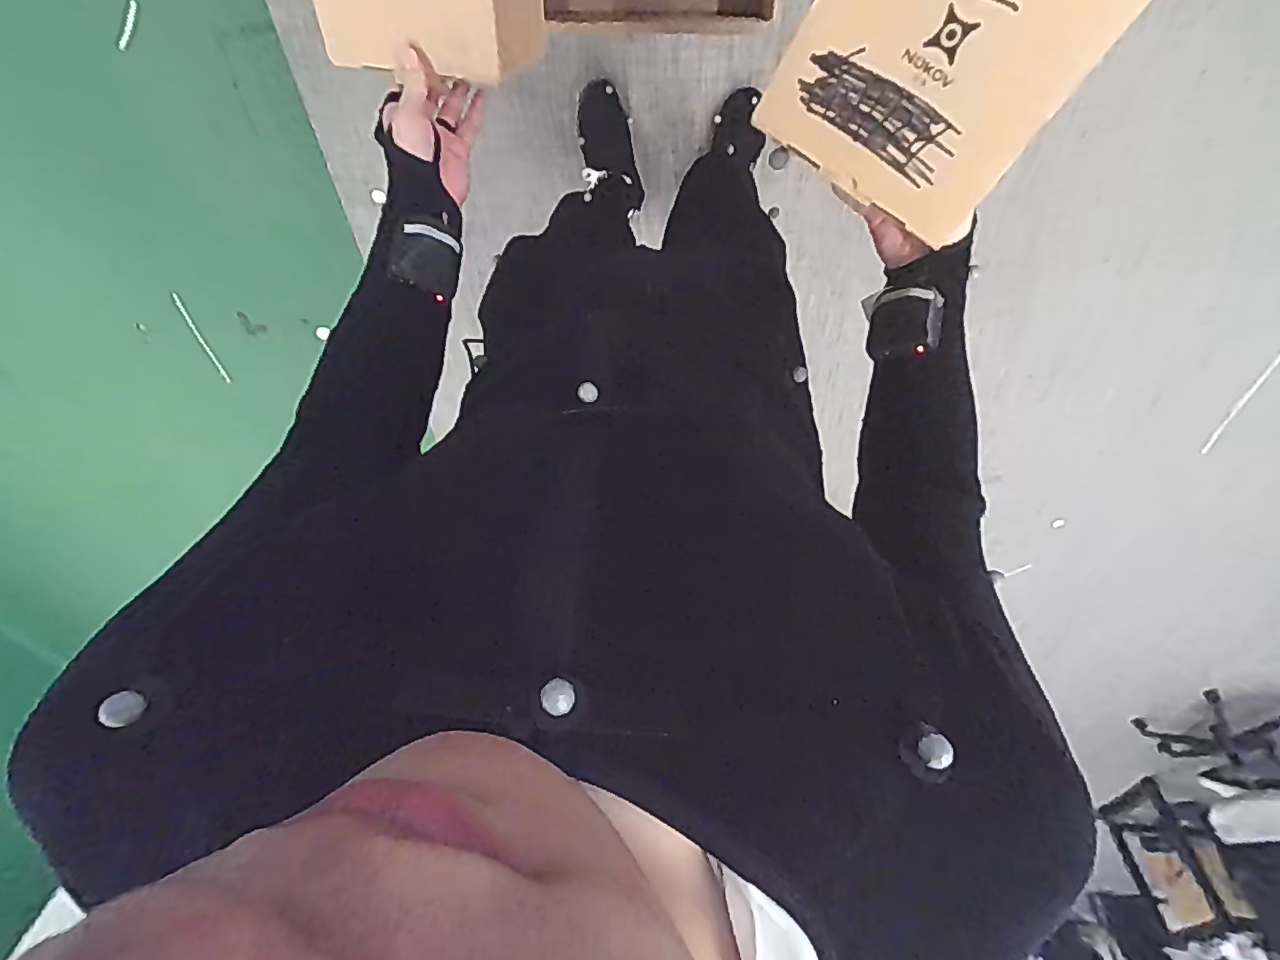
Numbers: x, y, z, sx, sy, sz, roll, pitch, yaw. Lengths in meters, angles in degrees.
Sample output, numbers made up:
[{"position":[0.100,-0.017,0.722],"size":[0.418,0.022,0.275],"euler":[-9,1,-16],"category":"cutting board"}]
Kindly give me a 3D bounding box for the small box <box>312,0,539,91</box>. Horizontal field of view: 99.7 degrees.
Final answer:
[{"position":[-0.195,-0.494,0.503],"size":[0.168,0.176,0.179],"euler":[8,136,1],"category":"small box"}]
